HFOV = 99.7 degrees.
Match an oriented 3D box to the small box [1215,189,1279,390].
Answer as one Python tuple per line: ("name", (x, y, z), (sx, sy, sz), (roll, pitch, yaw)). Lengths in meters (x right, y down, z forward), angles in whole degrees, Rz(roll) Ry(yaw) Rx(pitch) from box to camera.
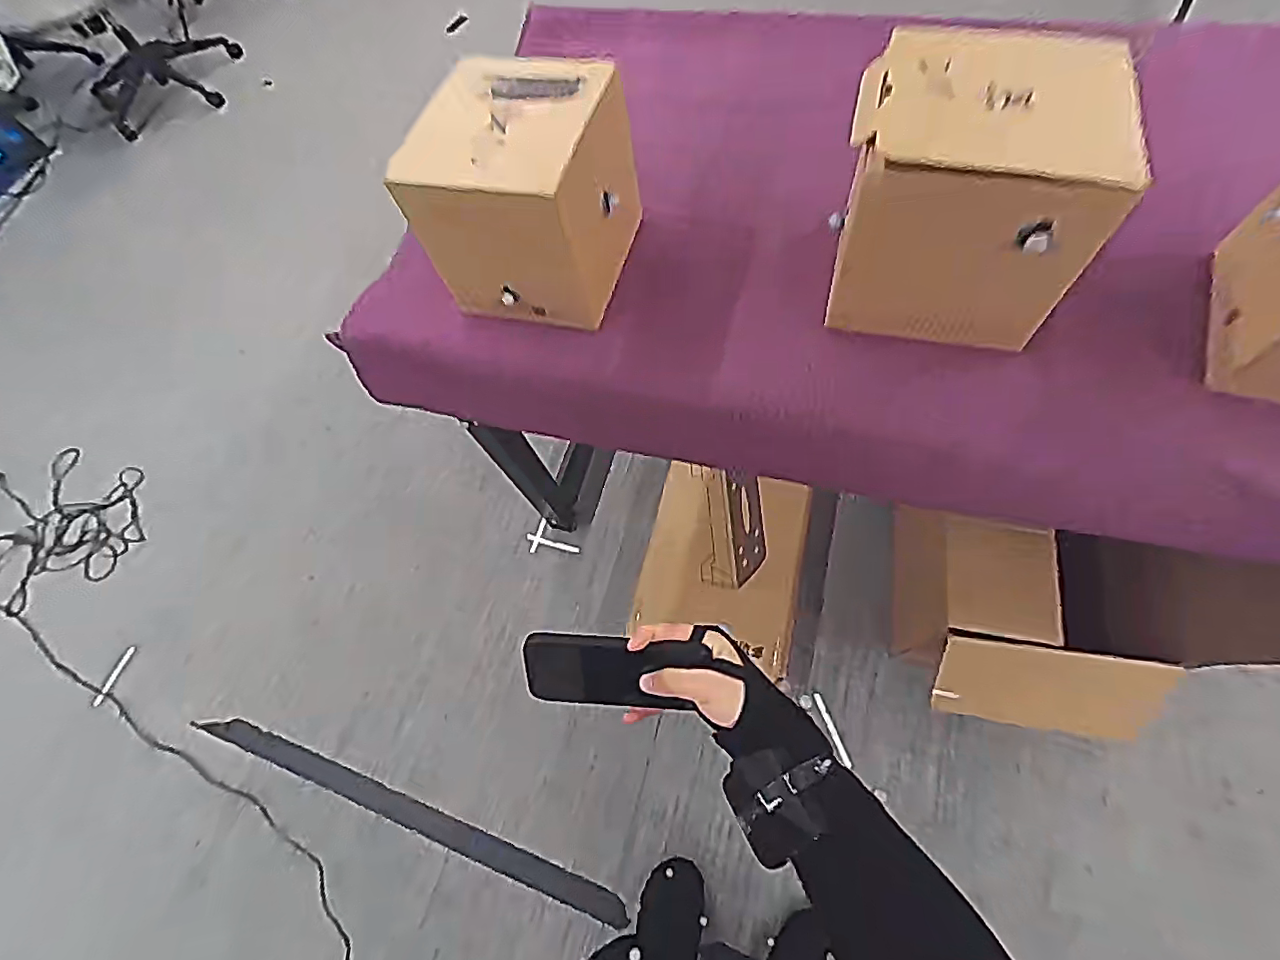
("small box", (0.574, -0.161, 0.383), (0.179, 0.176, 0.168), (18, 70, 16))

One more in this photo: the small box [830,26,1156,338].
("small box", (0.277, -0.244, 0.464), (0.179, 0.176, 0.168), (11, 66, 13))
